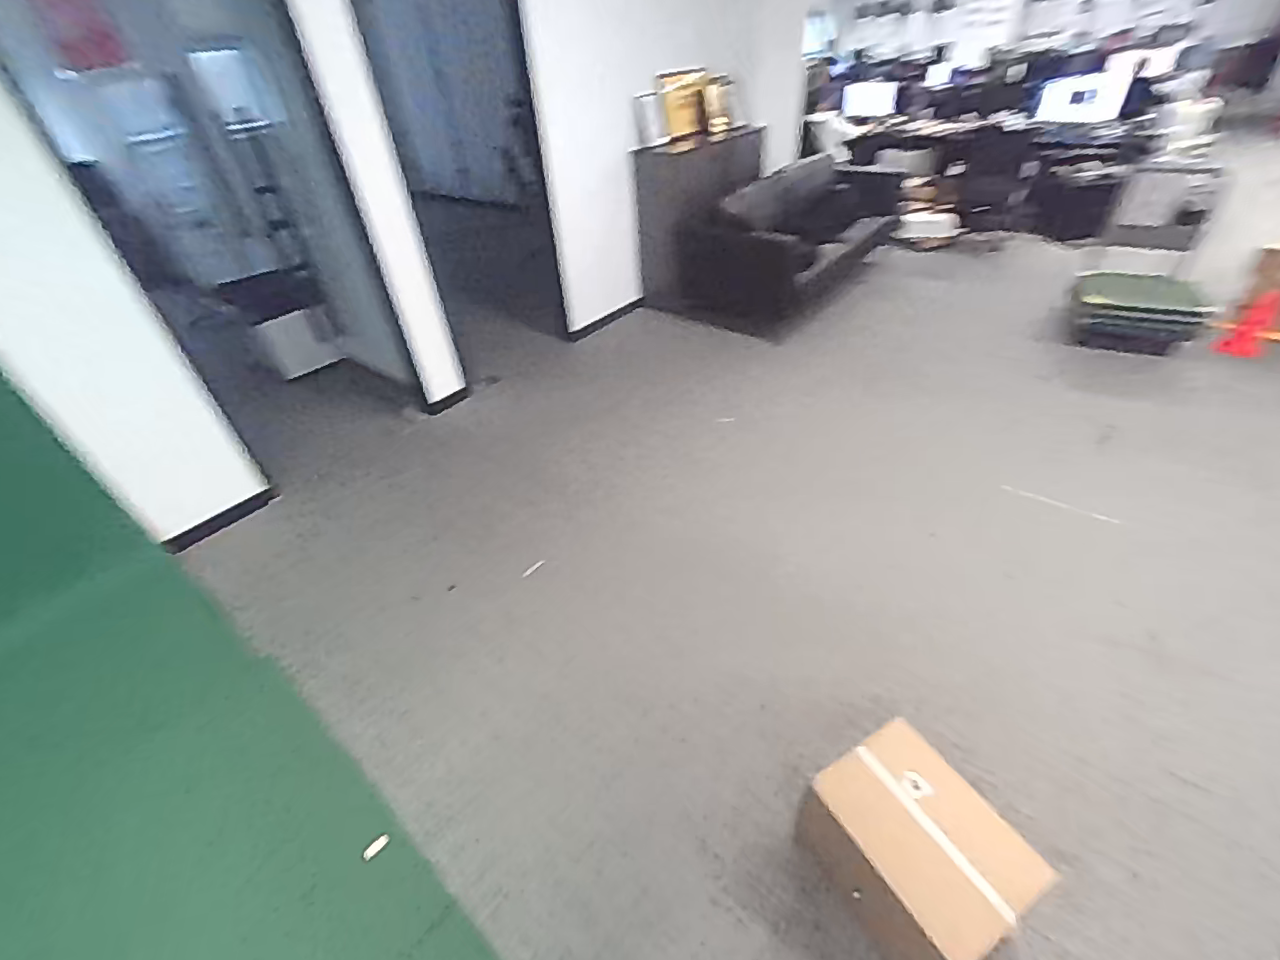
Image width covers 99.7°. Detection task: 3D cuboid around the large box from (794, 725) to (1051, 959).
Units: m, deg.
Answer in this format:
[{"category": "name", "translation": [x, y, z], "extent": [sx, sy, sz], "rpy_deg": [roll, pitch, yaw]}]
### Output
[{"category": "large box", "translation": [0.625, 0.891, 1.275], "extent": [0.320, 0.320, 0.408], "rpy_deg": [-22, 40, -21]}]
